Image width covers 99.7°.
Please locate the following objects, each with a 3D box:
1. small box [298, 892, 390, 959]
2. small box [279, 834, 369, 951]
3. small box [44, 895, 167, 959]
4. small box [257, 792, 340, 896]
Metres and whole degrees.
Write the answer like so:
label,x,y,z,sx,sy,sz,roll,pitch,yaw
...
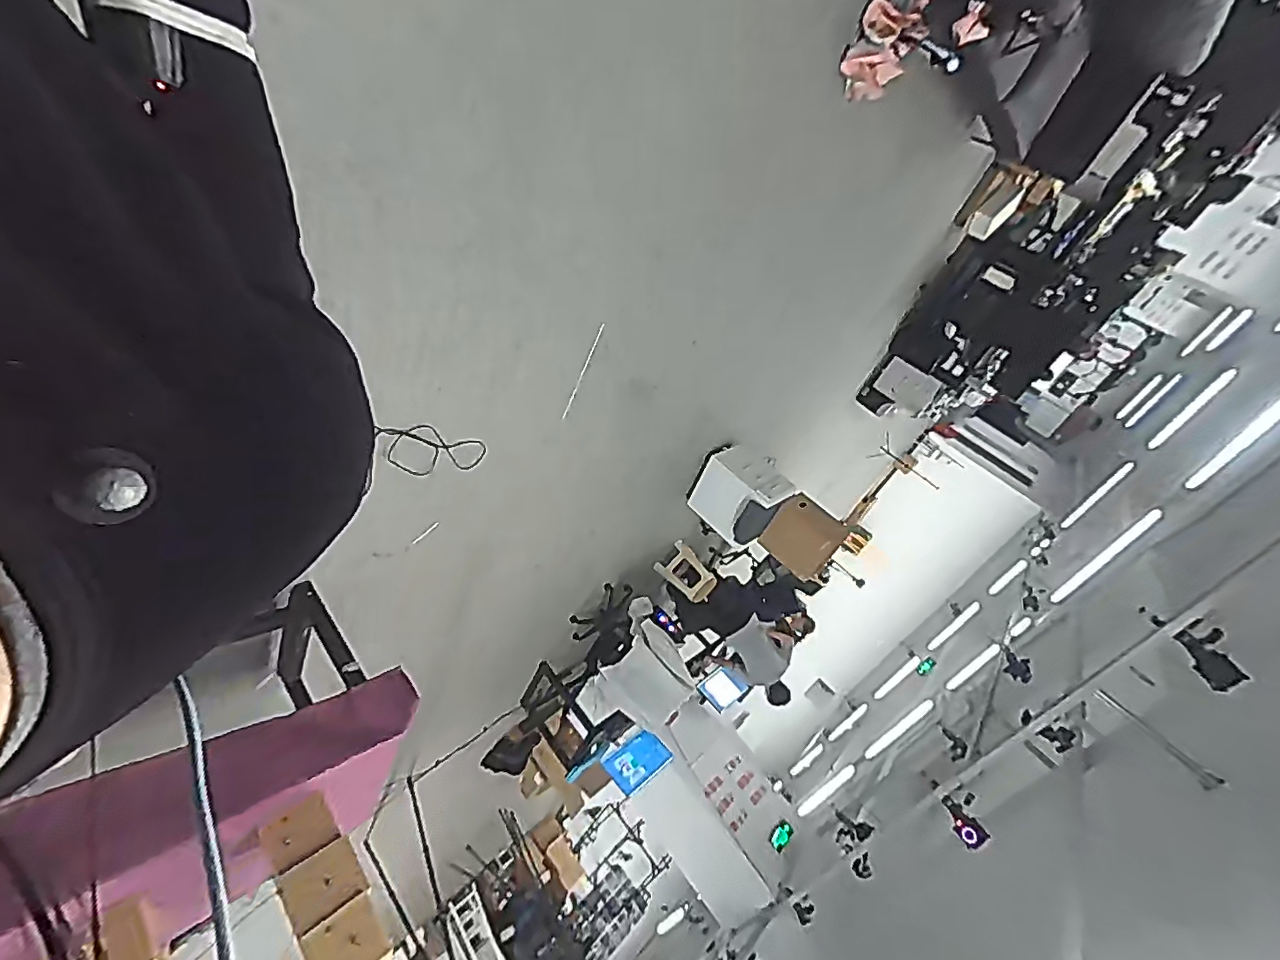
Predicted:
label,x,y,z,sx,sy,sz,roll,pitch,yaw
small box,-0.780,1.239,1.426,0.168,0.176,0.179,-20,145,-41
small box,-0.885,1.143,1.507,0.179,0.176,0.168,-18,143,-45
small box,-1.271,1.147,1.296,0.168,0.176,0.179,-23,147,-41
small box,-1.003,1.060,1.588,0.168,0.176,0.179,-17,143,-45
